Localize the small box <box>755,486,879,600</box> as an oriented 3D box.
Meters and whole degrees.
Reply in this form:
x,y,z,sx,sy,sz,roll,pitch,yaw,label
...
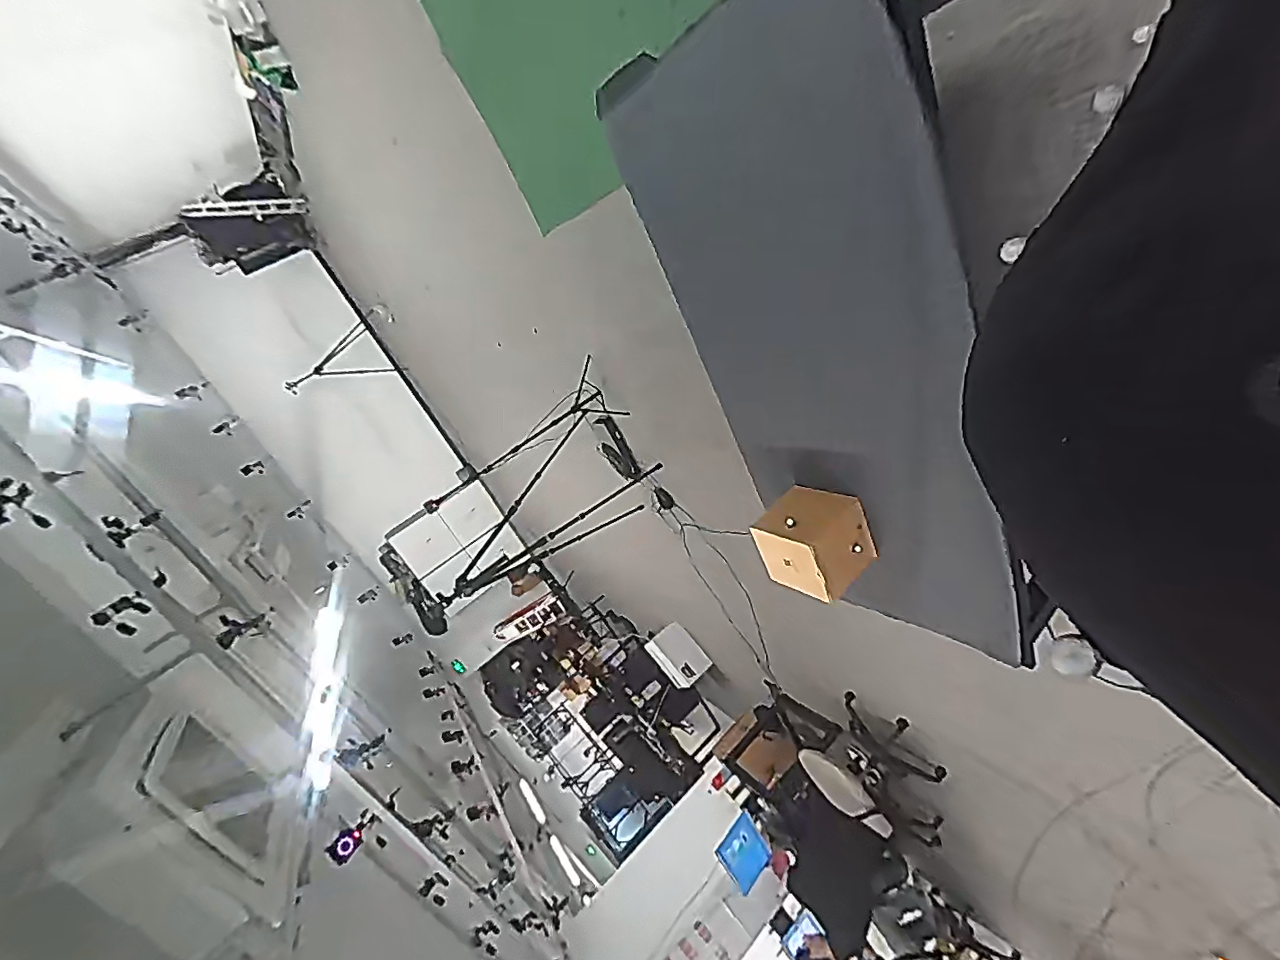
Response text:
x,y,z,sx,sy,sz,roll,pitch,yaw,label
0.396,0.131,1.207,0.179,0.176,0.168,15,138,56,small box
